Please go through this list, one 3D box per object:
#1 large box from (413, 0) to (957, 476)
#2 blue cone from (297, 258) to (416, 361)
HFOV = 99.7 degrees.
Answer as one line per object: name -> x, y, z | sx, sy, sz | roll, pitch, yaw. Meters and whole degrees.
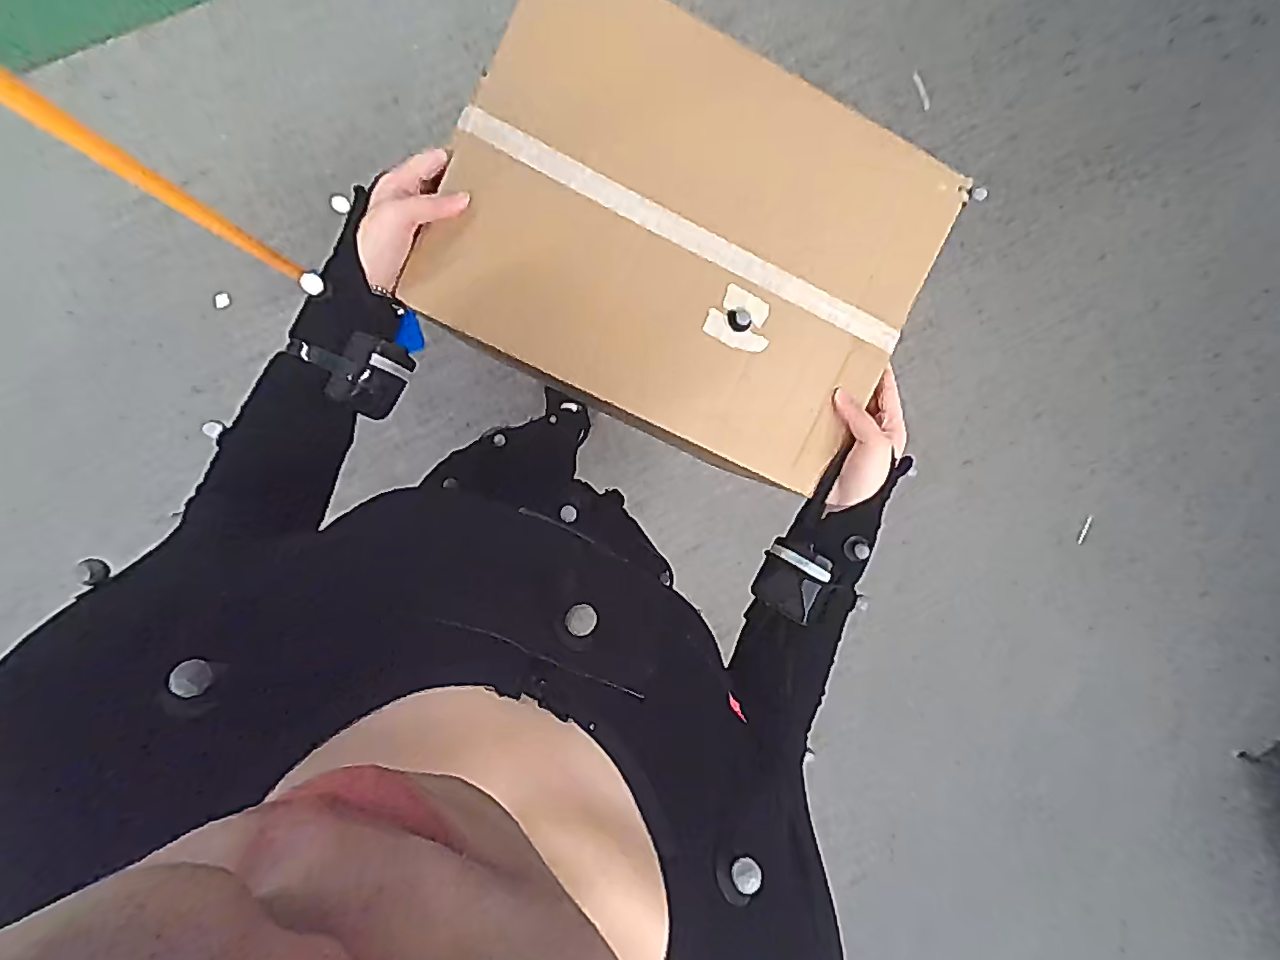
large box -> 0.031, -0.233, 0.616 | 0.408, 0.320, 0.320 | 25, 94, -8
blue cone -> -0.662, -0.404, 1.216 | 0.193, 0.380, 0.192 | -18, 94, -7
